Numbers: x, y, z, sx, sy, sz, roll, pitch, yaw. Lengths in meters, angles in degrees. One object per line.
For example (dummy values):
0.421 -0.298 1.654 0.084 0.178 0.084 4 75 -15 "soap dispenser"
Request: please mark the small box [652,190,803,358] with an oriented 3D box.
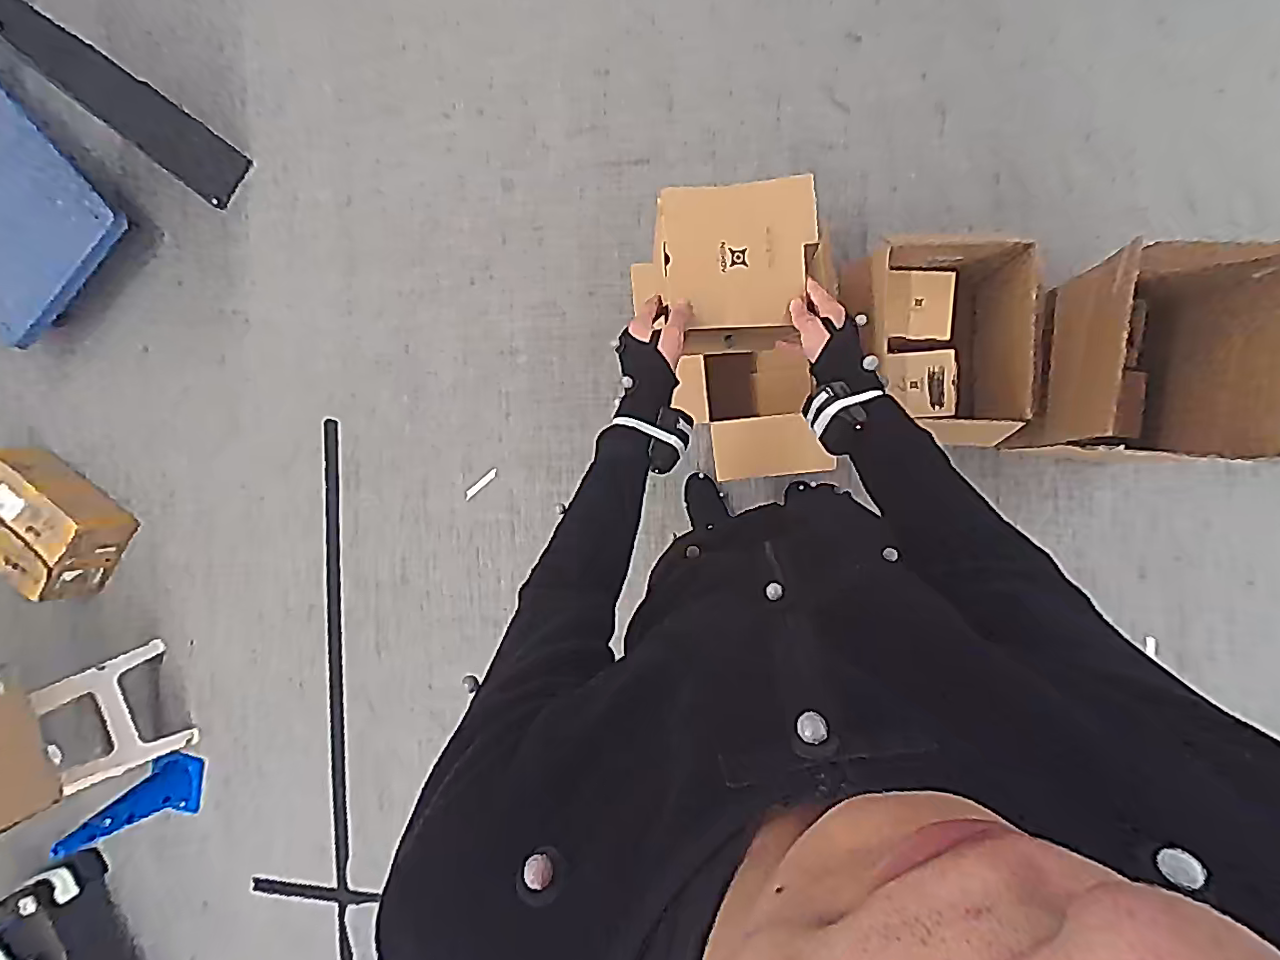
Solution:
0.106 -0.264 0.728 0.179 0.176 0.168 -4 93 -1 "small box"
